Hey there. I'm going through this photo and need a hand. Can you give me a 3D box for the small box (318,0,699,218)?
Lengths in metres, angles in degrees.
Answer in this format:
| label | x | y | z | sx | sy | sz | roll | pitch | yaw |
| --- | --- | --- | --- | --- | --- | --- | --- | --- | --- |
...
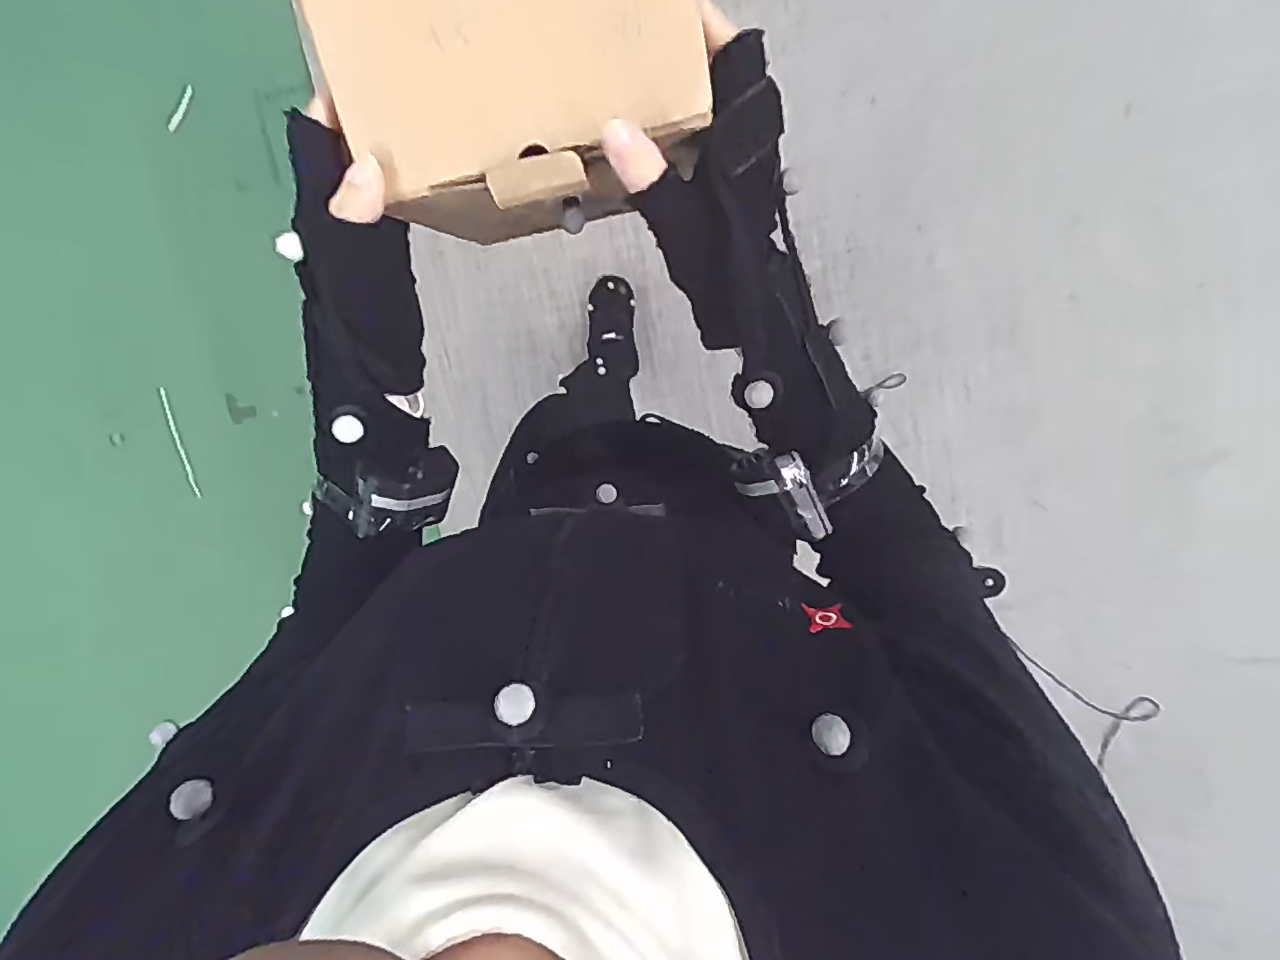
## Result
| label | x | y | z | sx | sy | sz | roll | pitch | yaw |
| --- | --- | --- | --- | --- | --- | --- | --- | --- | --- |
| small box | -0.060 | -0.261 | 0.306 | 0.168 | 0.176 | 0.179 | -10 | 108 | 8 |
